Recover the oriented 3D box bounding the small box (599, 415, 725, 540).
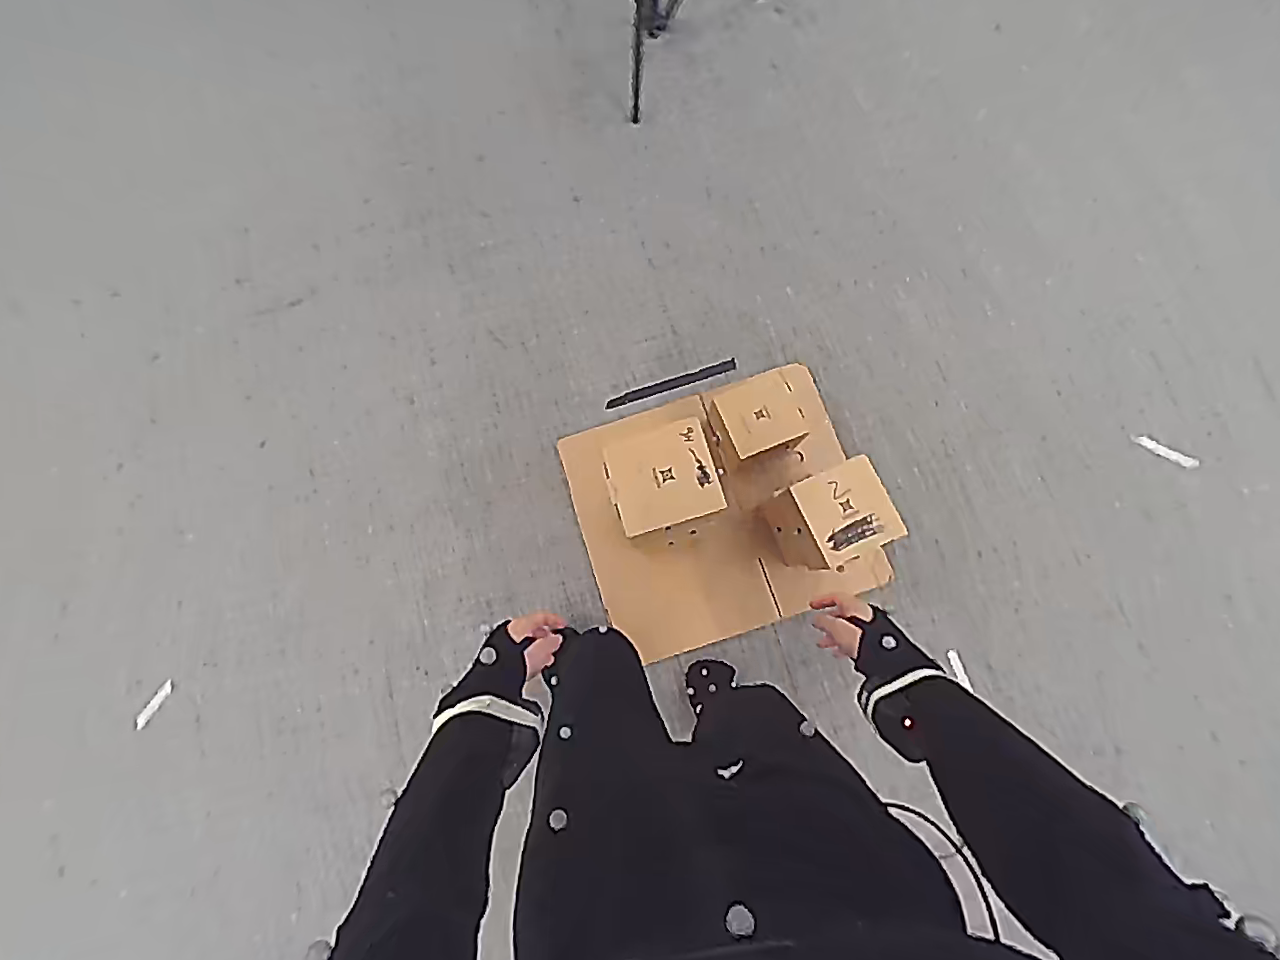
[{"bbox_3d":[0.041,0.005,0.961,0.179,0.176,0.168,-17,80,1],"label":"small box"}]

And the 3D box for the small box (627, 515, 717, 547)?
[{"bbox_3d":[0.050,0.038,1.122,0.179,0.176,0.168,-14,79,1],"label":"small box"}]

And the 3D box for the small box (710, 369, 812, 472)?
[{"bbox_3d":[0.284,-0.138,1.312,0.179,0.176,0.168,-23,77,-2],"label":"small box"}]

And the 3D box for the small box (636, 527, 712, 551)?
[{"bbox_3d":[0.060,0.068,1.283,0.179,0.176,0.168,-15,80,1],"label":"small box"}]

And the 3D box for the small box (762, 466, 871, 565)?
[{"bbox_3d":[0.403,0.088,1.265,0.168,0.176,0.179,-22,79,-2],"label":"small box"}]
